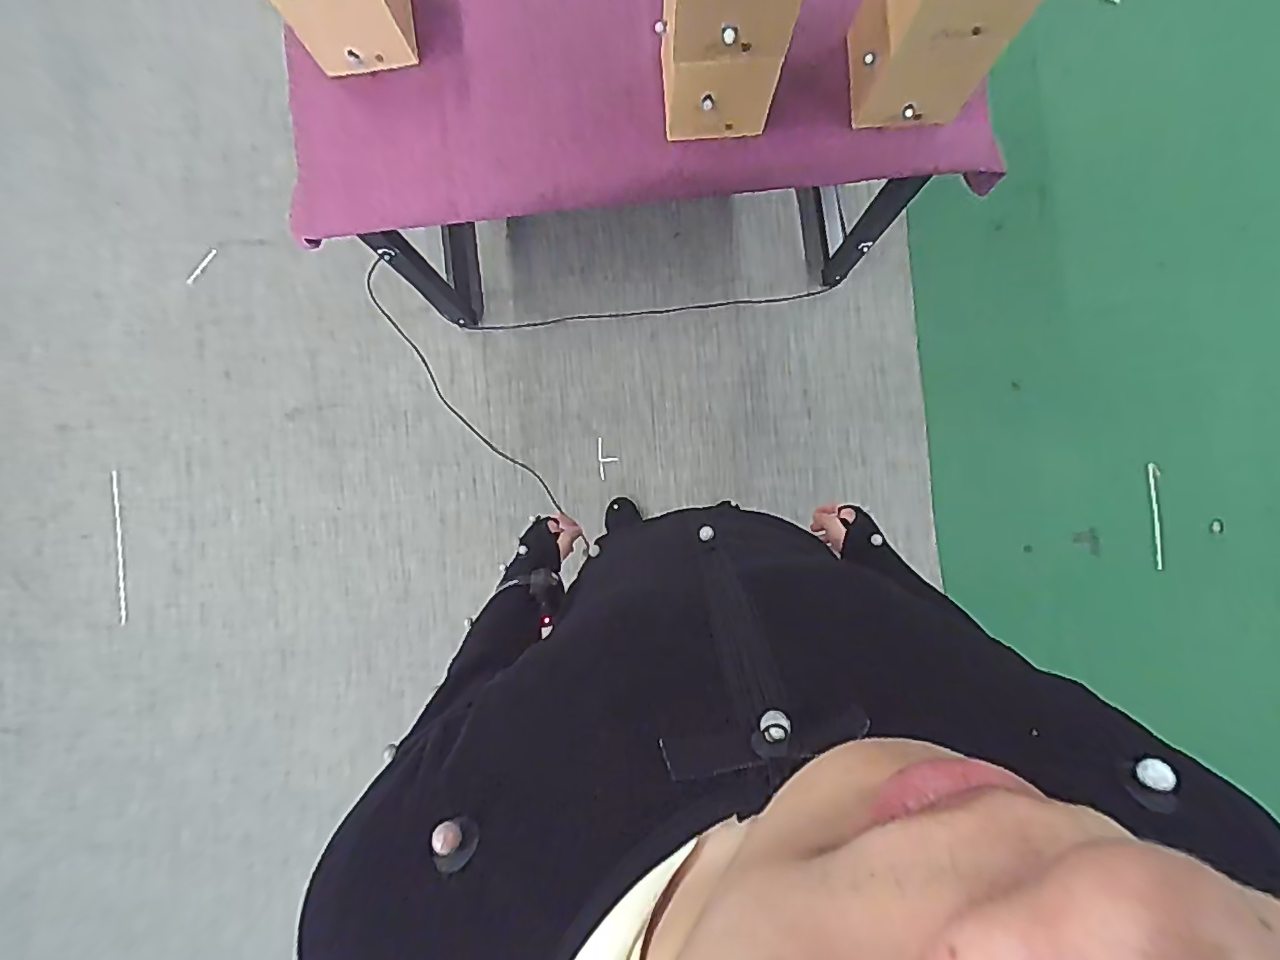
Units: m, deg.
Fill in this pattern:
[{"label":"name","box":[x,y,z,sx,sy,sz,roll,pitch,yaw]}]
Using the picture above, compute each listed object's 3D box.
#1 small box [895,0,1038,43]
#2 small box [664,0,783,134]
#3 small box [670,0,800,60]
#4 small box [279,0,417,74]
[{"label":"small box","box":[0.438,-0.709,0.687,0.168,0.176,0.179,-2,87,3]},{"label":"small box","box":[0.125,-0.684,0.862,0.168,0.176,0.179,-3,86,2]},{"label":"small box","box":[0.122,-0.695,0.698,0.168,0.176,0.179,-3,87,2]},{"label":"small box","box":[-0.484,-0.816,0.880,0.168,0.176,0.179,-8,89,2]}]
